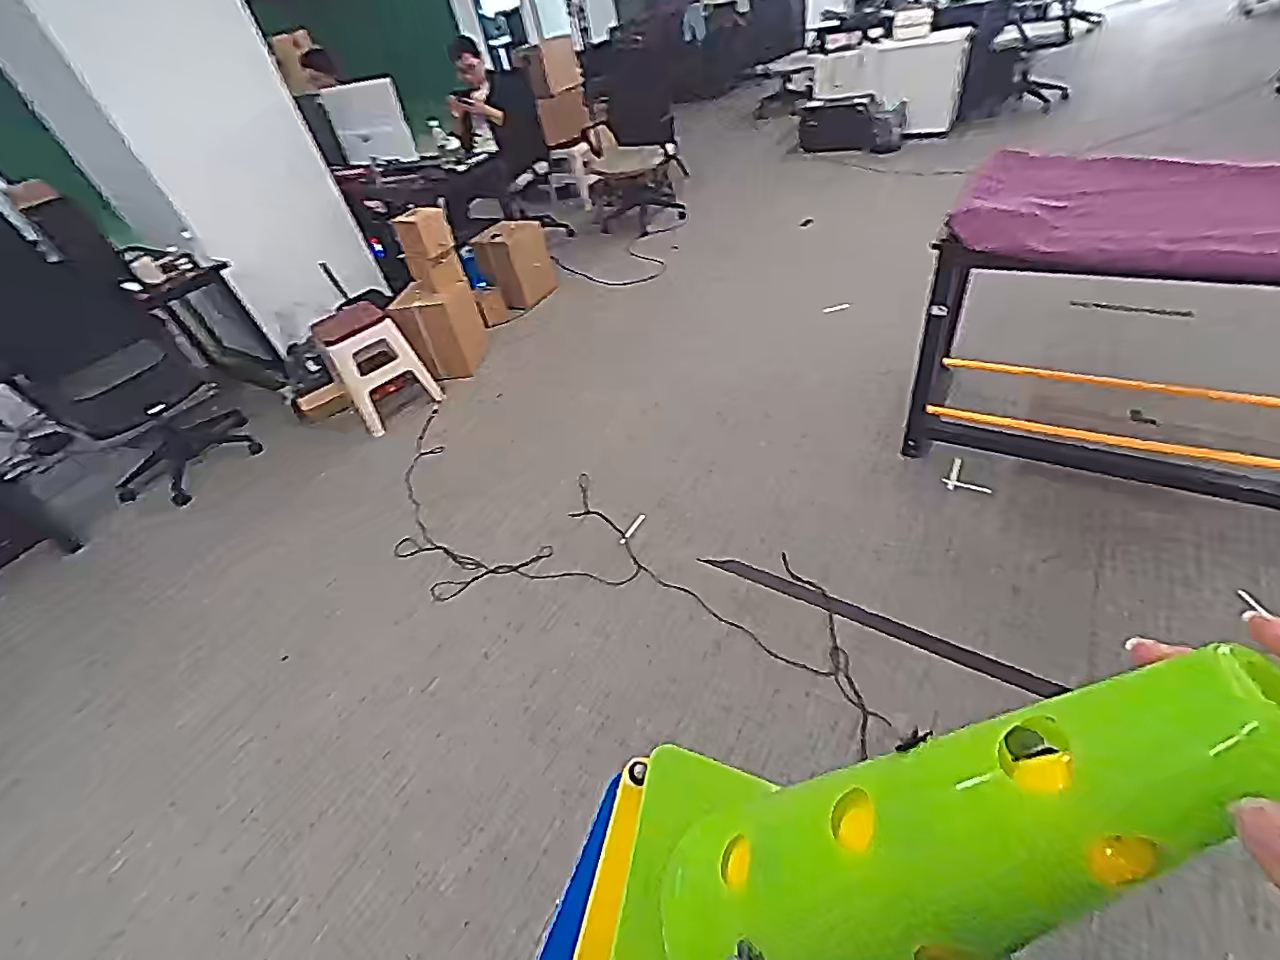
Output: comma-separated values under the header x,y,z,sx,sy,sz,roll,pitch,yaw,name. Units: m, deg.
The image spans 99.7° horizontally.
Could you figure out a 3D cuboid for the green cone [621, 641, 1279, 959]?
x,y,z,sx,sy,sz,roll,pitch,yaw,name
0.148,0.181,0.274,0.200,0.368,0.202,23,40,-2,green cone
